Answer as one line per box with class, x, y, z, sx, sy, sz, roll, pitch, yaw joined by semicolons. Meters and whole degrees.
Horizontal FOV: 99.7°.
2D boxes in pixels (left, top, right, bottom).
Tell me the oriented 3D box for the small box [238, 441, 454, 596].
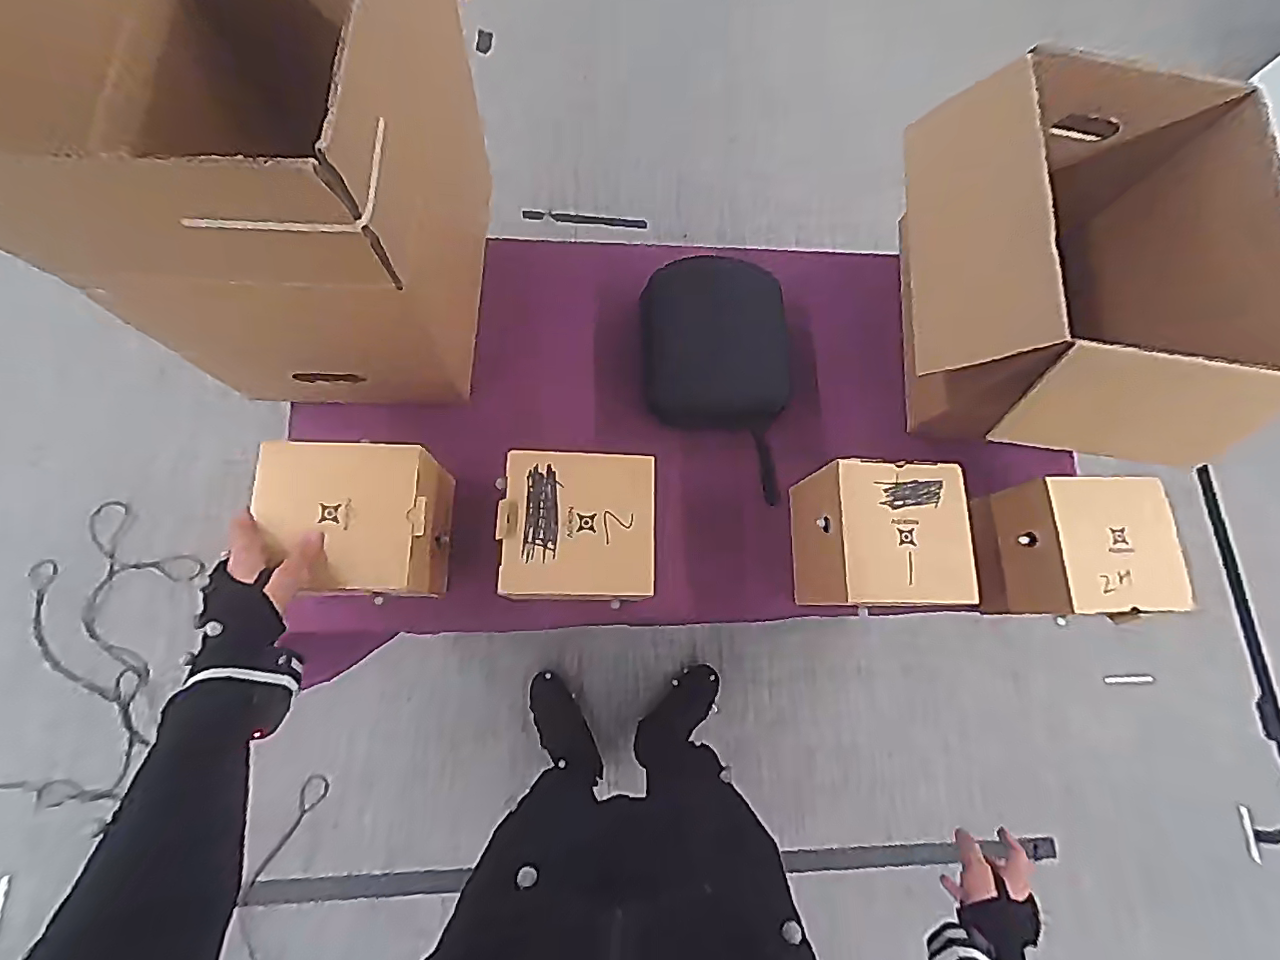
small box;-0.345;0.057;0.672;0.179;0.176;0.168;2;76;-7
